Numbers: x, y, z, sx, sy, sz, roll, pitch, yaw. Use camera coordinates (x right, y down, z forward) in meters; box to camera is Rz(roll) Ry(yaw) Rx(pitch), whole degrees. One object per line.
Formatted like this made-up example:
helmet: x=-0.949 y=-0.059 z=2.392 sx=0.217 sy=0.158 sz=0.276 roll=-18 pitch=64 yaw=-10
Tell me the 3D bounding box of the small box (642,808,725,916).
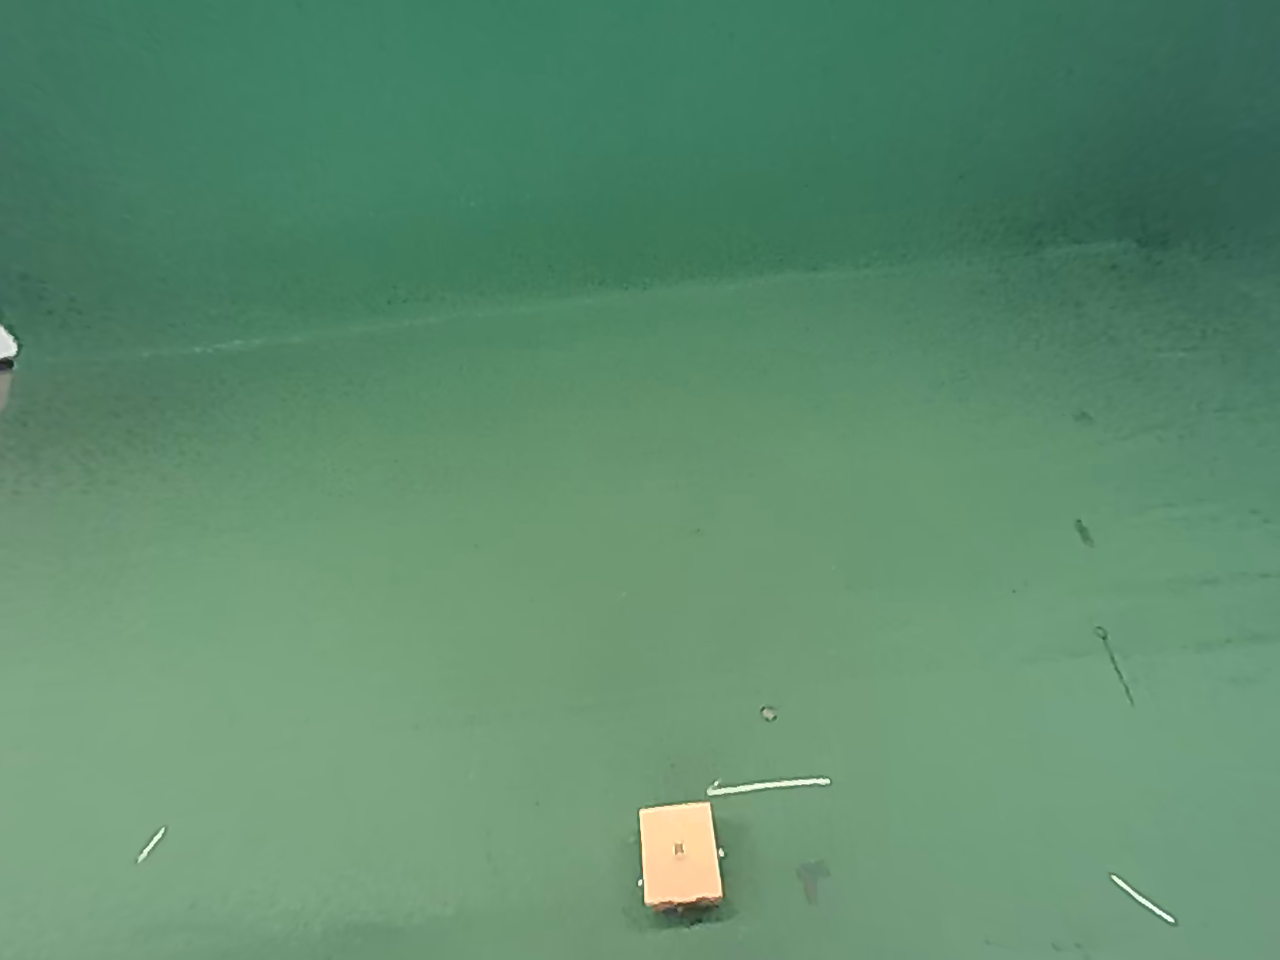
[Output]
small box: x=0.095 y=0.875 z=1.237 sx=0.168 sy=0.176 sz=0.179 roll=-6 pitch=49 yaw=0
